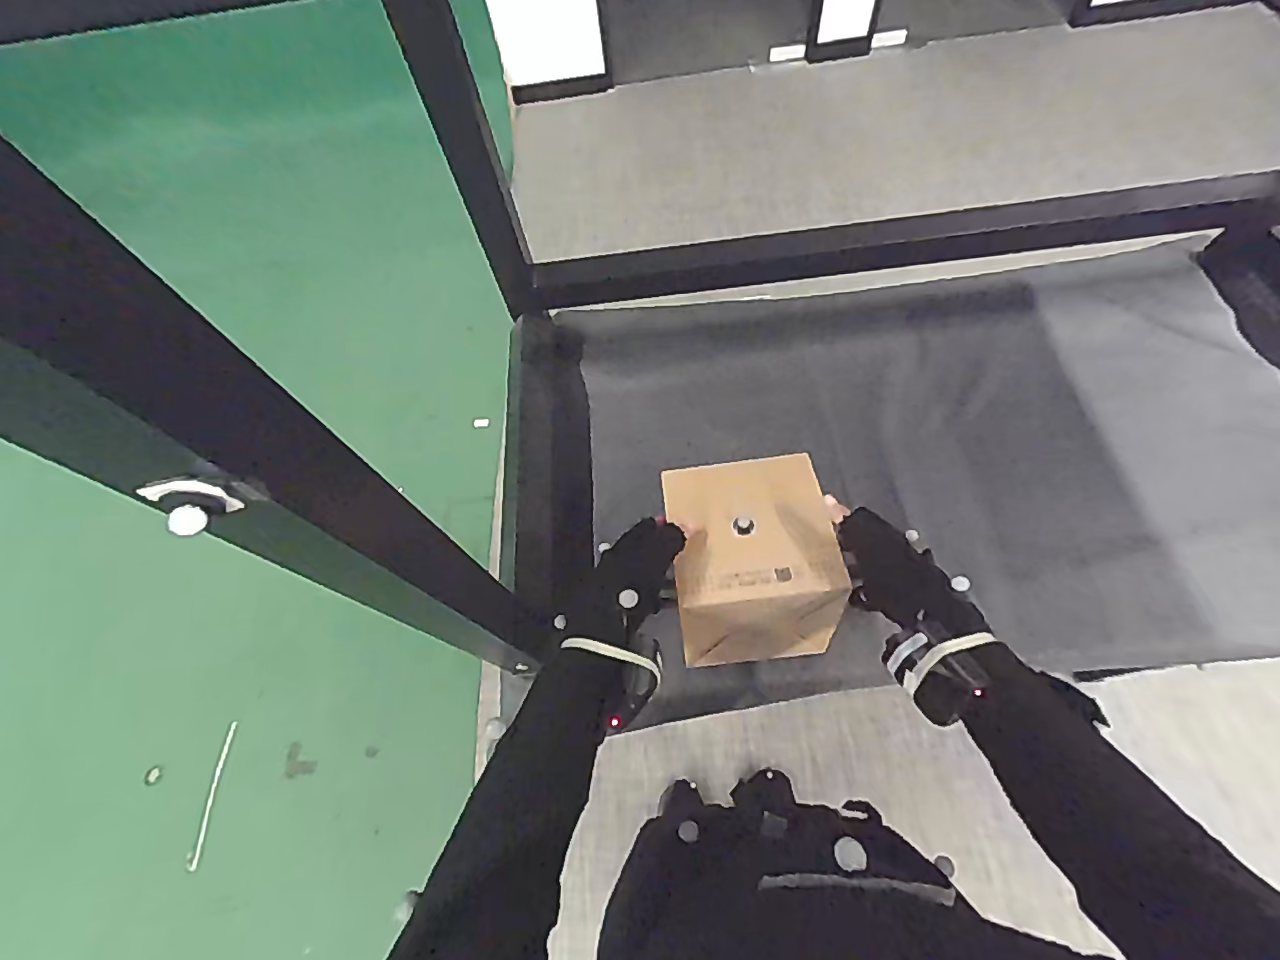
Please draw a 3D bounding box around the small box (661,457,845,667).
[{"bbox_3d":[0.121,0.100,0.622,0.168,0.179,0.176,-7,53,4],"label":"small box"}]
